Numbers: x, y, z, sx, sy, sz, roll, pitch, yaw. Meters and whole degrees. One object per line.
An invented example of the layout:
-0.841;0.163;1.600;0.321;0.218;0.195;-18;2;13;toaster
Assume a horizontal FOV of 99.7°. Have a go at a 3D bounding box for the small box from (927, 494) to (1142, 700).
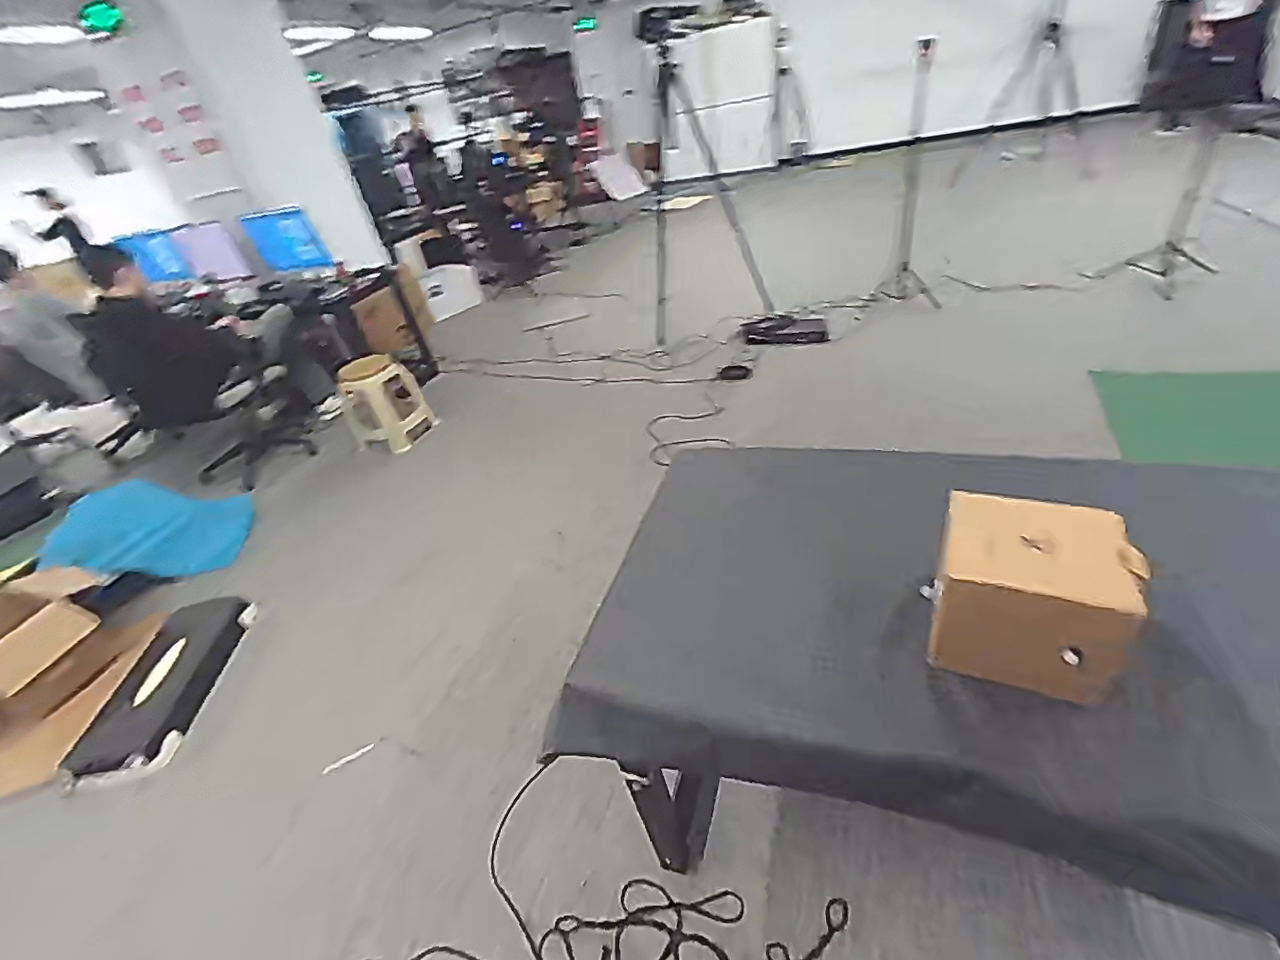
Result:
0.468;0.141;0.669;0.179;0.176;0.168;7;39;28;small box
